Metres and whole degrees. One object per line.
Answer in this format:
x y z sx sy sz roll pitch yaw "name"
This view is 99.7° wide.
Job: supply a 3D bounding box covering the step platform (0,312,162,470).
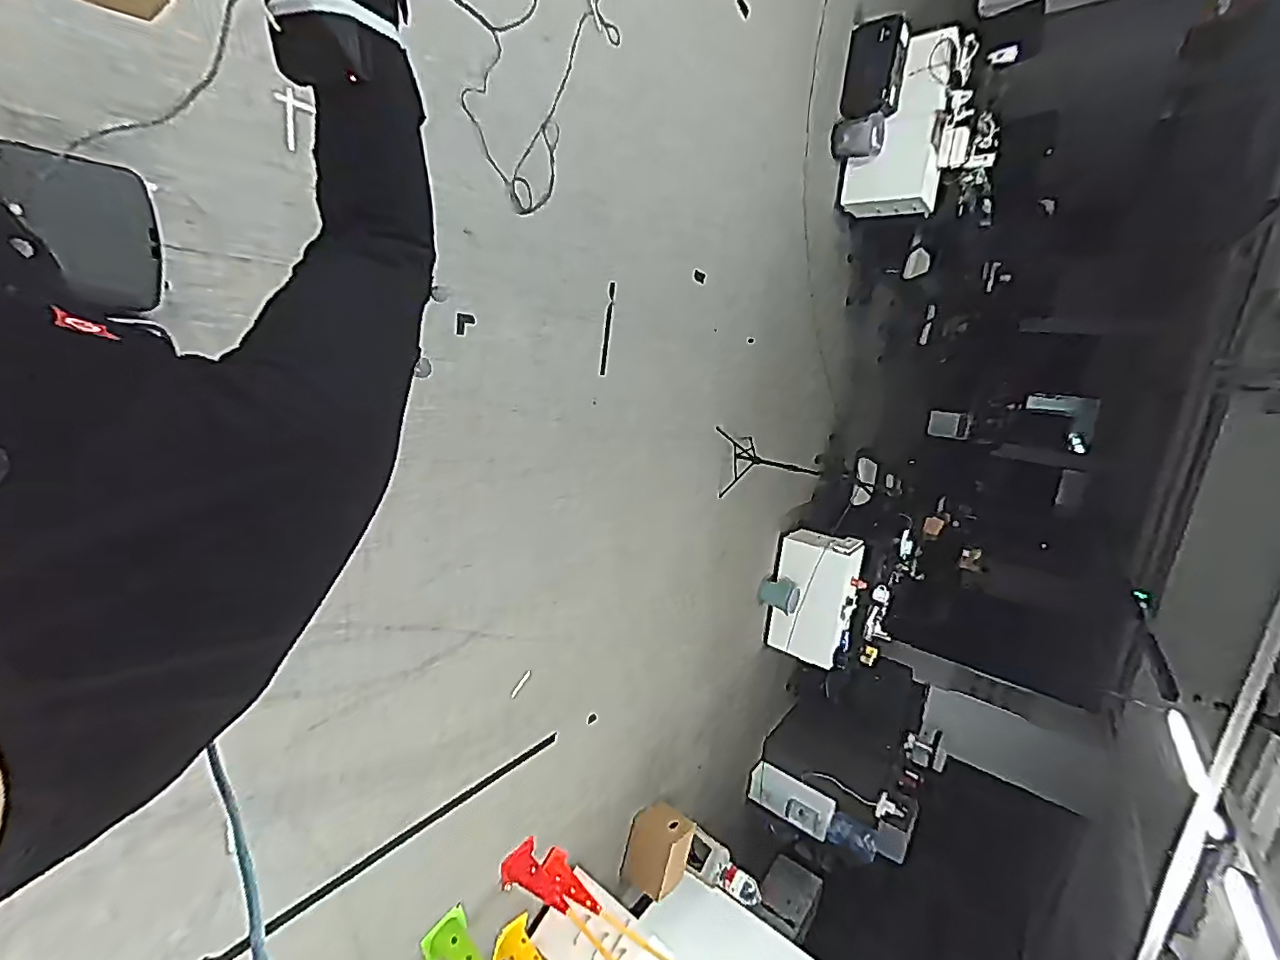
-1.259 -0.152 0.908 0.684 0.204 0.286 -12 112 -50 "step platform"
